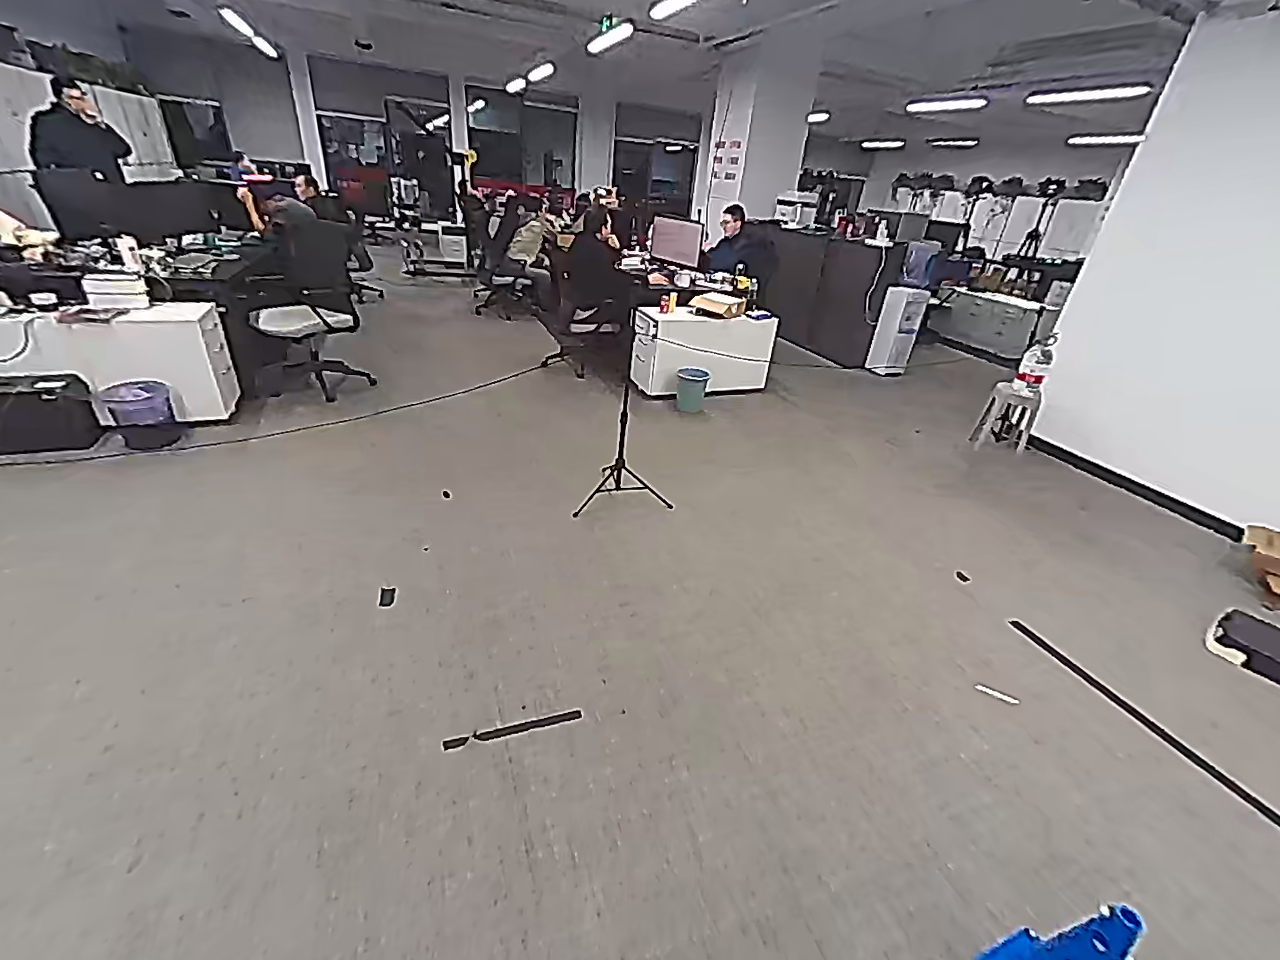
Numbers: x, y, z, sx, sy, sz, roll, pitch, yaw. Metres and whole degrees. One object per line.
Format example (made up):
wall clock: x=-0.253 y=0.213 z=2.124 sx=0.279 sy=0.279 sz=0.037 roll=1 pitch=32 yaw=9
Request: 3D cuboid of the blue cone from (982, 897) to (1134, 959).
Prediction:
blue cone: x=0.860 y=0.941 z=1.055 sx=0.193 sy=0.380 sz=0.192 roll=-6 pitch=30 yaw=-20
